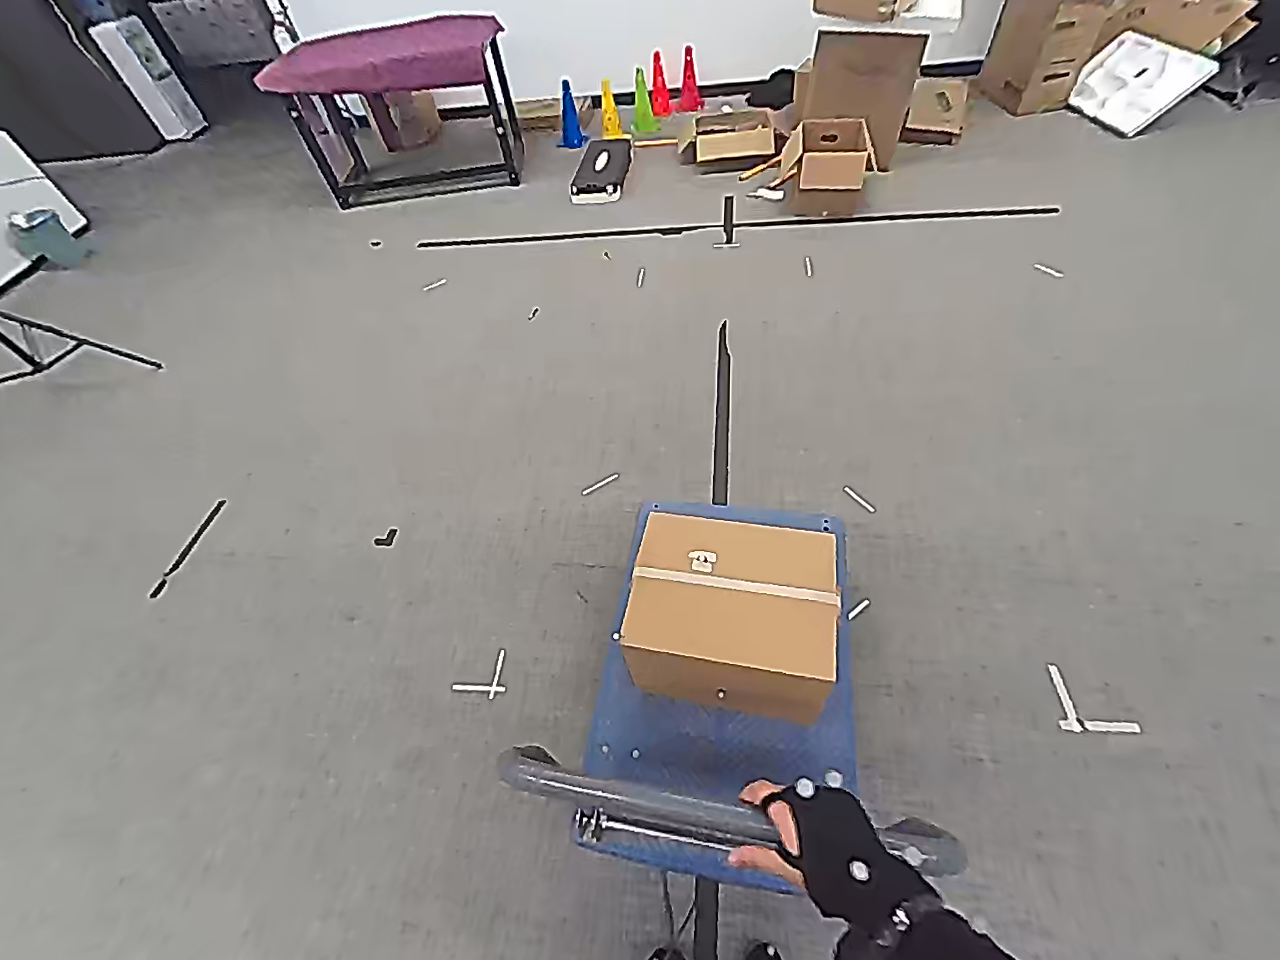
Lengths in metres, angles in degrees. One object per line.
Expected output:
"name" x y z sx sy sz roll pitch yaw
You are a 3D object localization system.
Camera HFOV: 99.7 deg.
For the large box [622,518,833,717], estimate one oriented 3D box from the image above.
"large box" 0.204 0.312 1.222 0.408 0.320 0.320 5 52 13
